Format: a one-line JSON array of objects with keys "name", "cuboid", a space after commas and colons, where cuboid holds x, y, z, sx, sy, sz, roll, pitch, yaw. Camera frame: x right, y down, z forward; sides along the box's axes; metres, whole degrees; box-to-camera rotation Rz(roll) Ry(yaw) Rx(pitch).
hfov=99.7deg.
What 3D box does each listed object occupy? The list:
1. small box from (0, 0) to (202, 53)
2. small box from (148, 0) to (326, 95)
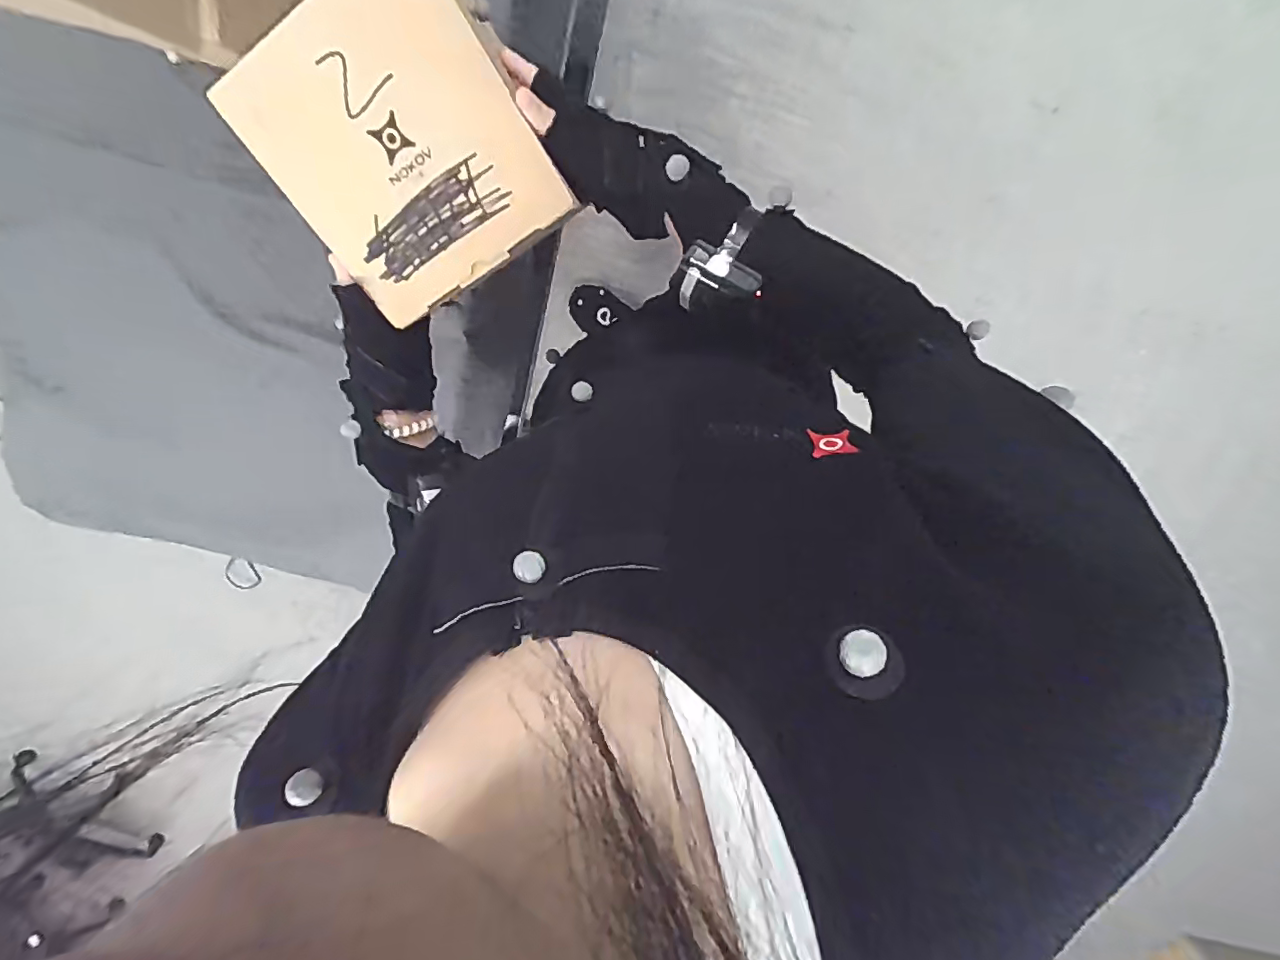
[{"name": "small box", "cuboid": [-0.439, -0.414, 0.349, 0.179, 0.176, 0.168, 12, 113, -3]}, {"name": "small box", "cuboid": [-0.413, -0.484, 0.496, 0.179, 0.176, 0.168, 14, 112, -2]}]
